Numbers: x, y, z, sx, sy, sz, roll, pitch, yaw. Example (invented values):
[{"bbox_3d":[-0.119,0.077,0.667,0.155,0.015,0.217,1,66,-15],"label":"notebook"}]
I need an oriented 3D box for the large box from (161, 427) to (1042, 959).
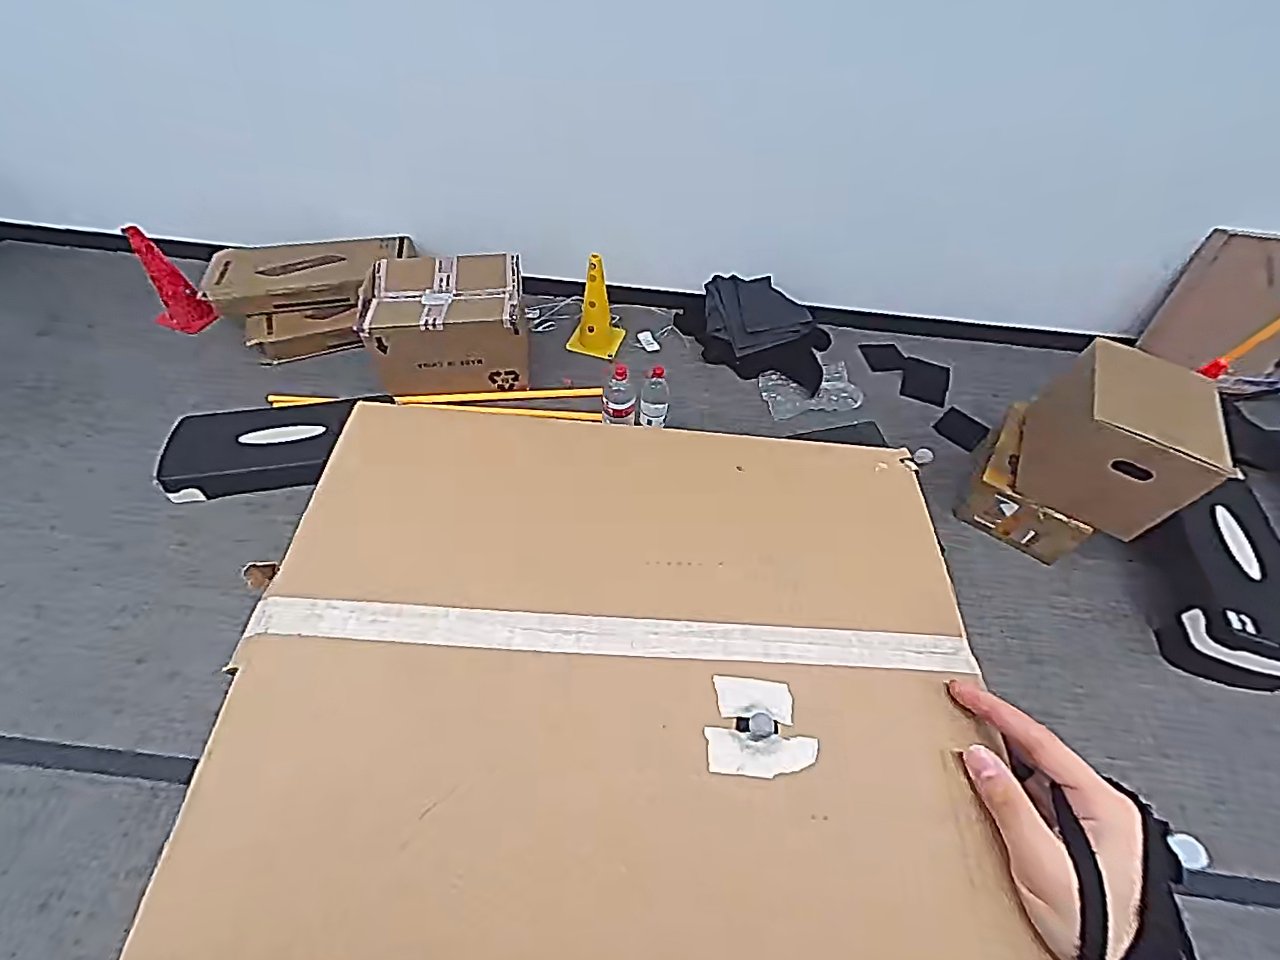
[{"bbox_3d":[-0.019,0.185,0.441,0.408,0.320,0.320,5,56,-4],"label":"large box"}]
